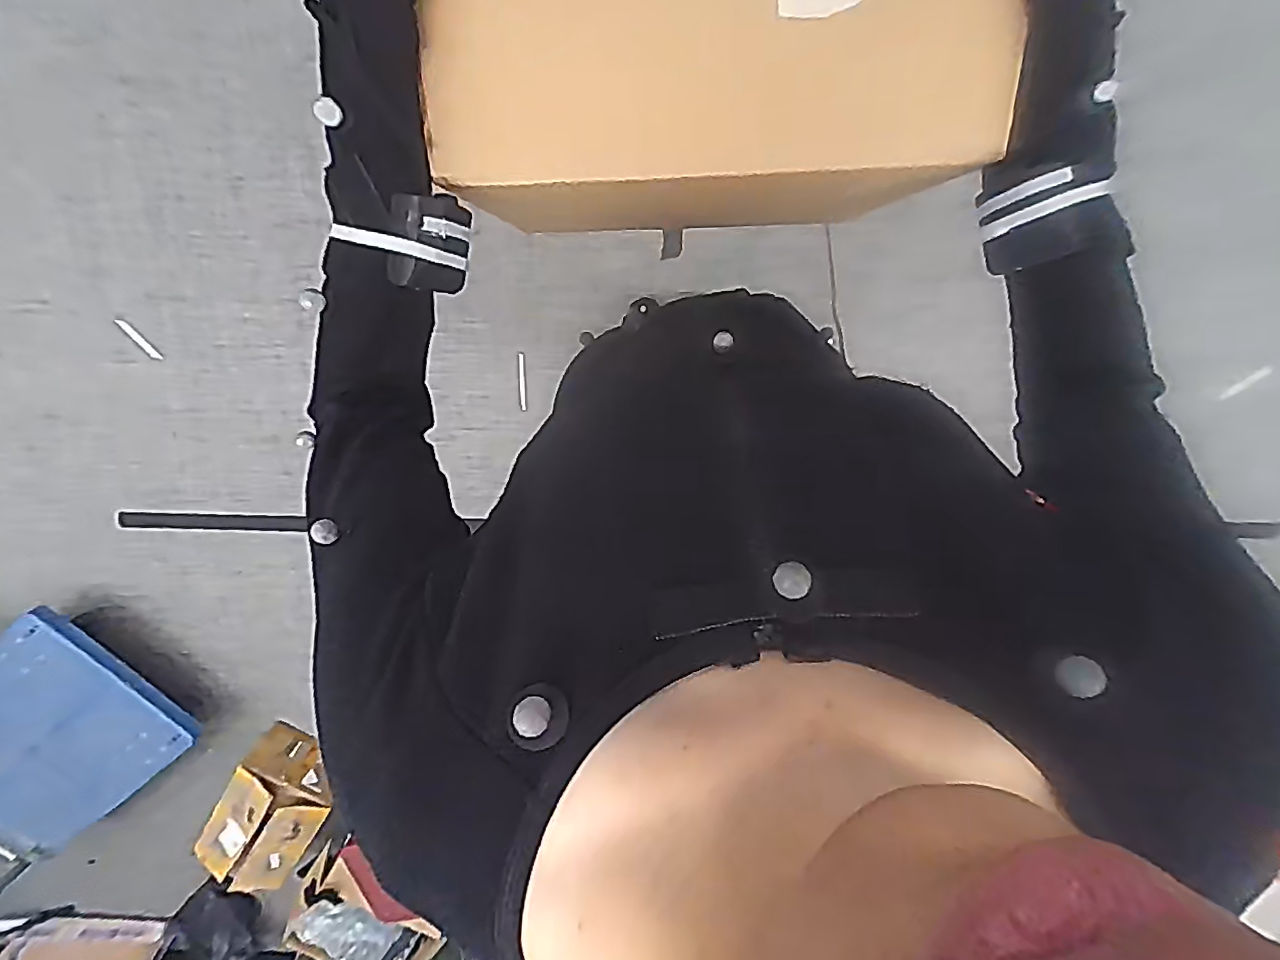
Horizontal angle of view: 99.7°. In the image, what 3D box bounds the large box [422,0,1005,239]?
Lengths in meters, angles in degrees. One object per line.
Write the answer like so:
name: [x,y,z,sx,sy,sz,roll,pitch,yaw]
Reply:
large box: [0.046,-0.416,0.493,0.408,0.320,0.320,-2,108,1]
